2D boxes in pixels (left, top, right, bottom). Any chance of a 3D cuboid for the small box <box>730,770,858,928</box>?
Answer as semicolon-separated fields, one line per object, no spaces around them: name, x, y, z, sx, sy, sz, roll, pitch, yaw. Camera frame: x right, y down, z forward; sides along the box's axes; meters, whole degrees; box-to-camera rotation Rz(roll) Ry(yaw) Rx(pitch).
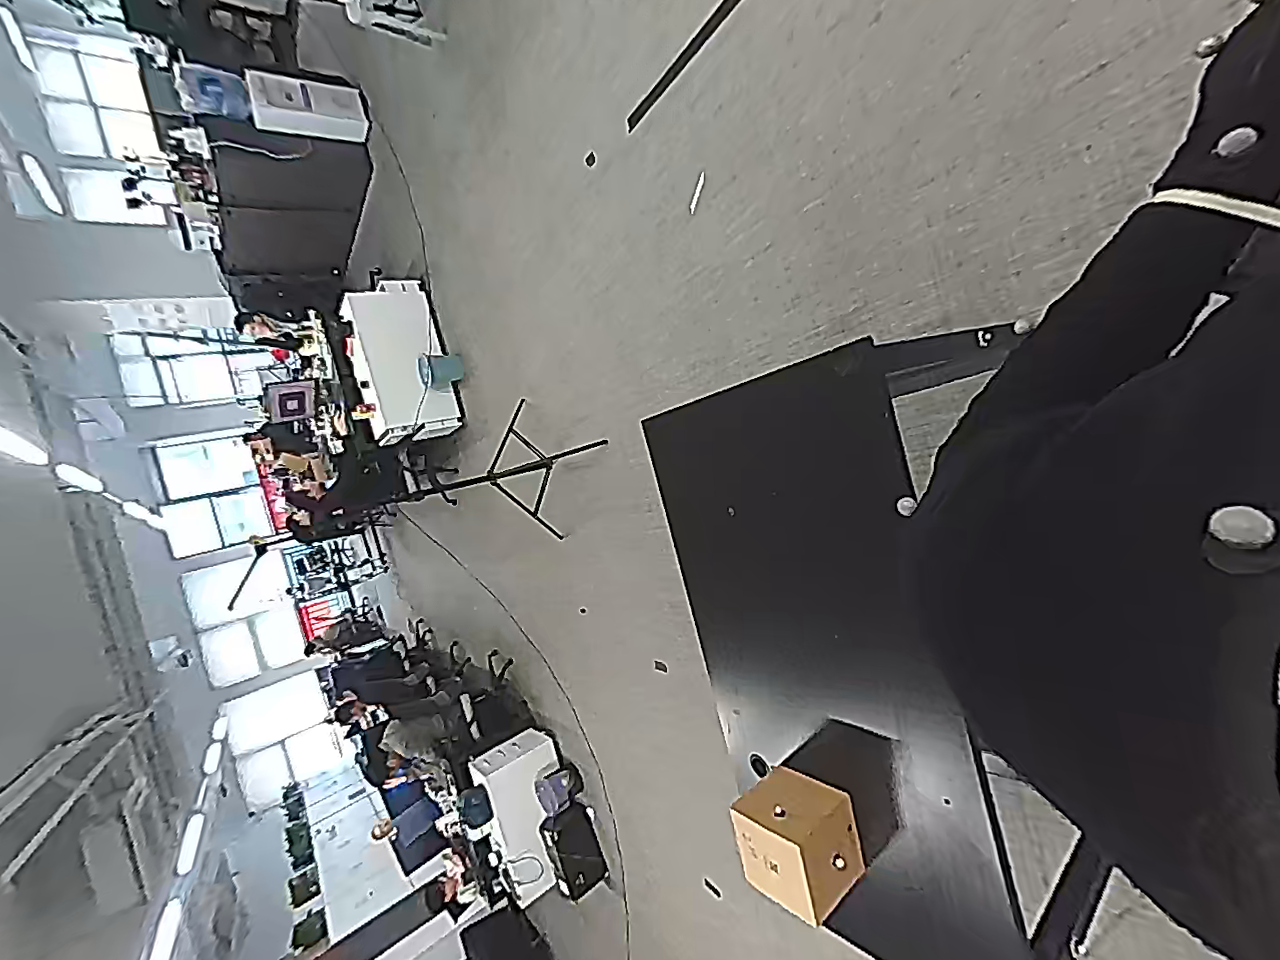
small box;0.313;0.717;1.080;0.179;0.176;0.168;-8;96;55
